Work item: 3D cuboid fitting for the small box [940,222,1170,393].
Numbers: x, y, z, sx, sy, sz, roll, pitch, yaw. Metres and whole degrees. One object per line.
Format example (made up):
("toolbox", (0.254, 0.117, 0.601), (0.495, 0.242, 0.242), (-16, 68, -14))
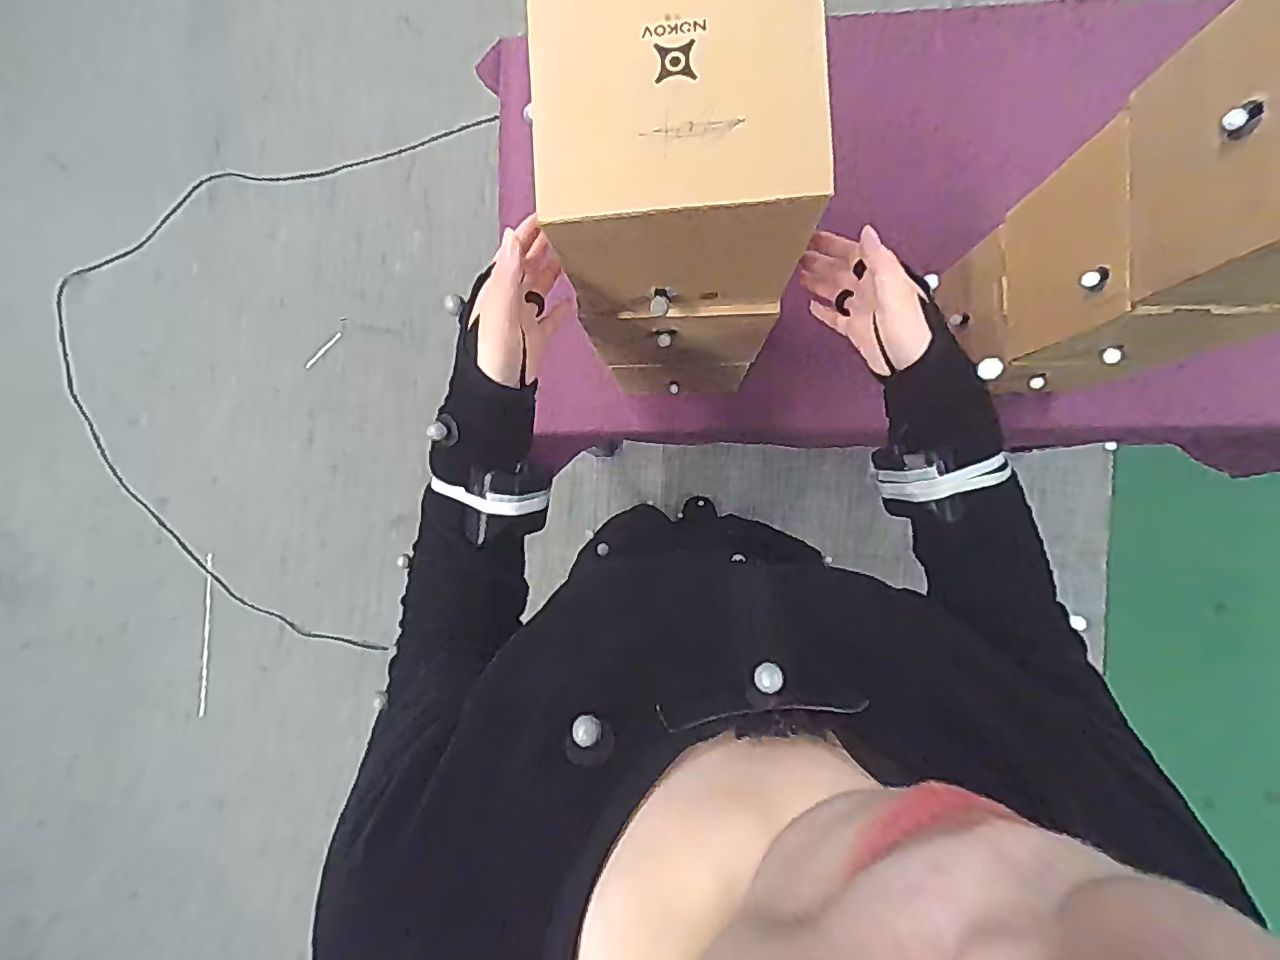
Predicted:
("small box", (0.495, -0.205, 0.672), (0.179, 0.176, 0.168), (-1, 88, 5))

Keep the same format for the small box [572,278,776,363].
("small box", (0.035, -0.218, 0.542), (0.179, 0.176, 0.168), (-1, 88, 4))

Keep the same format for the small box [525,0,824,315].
("small box", (0.022, -0.233, 0.381), (0.168, 0.176, 0.179), (-2, 89, 5))

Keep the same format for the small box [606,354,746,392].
("small box", (0.048, -0.213, 0.707), (0.168, 0.176, 0.179), (0, 88, 4))

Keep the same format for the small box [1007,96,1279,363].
("small box", (0.478, -0.218, 0.510), (0.168, 0.176, 0.179), (0, 89, 4))
